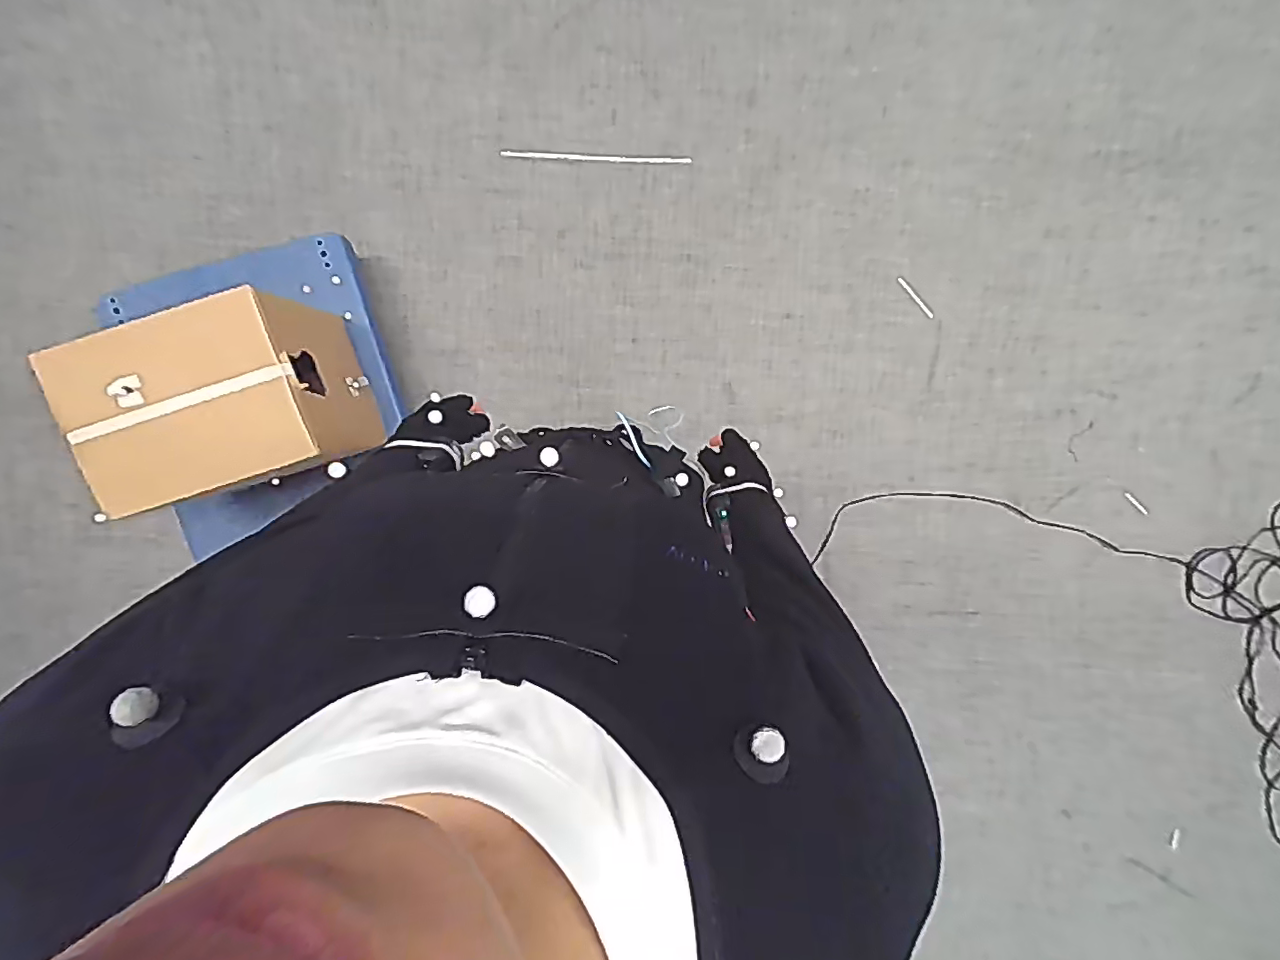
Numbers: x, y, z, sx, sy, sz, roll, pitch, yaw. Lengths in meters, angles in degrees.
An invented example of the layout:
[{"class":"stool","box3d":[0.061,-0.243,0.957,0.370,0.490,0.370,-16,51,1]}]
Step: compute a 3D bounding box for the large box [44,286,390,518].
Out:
[{"class":"large box","box3d":[-0.811,-0.156,1.106,0.408,0.320,0.320,-17,97,1]}]
